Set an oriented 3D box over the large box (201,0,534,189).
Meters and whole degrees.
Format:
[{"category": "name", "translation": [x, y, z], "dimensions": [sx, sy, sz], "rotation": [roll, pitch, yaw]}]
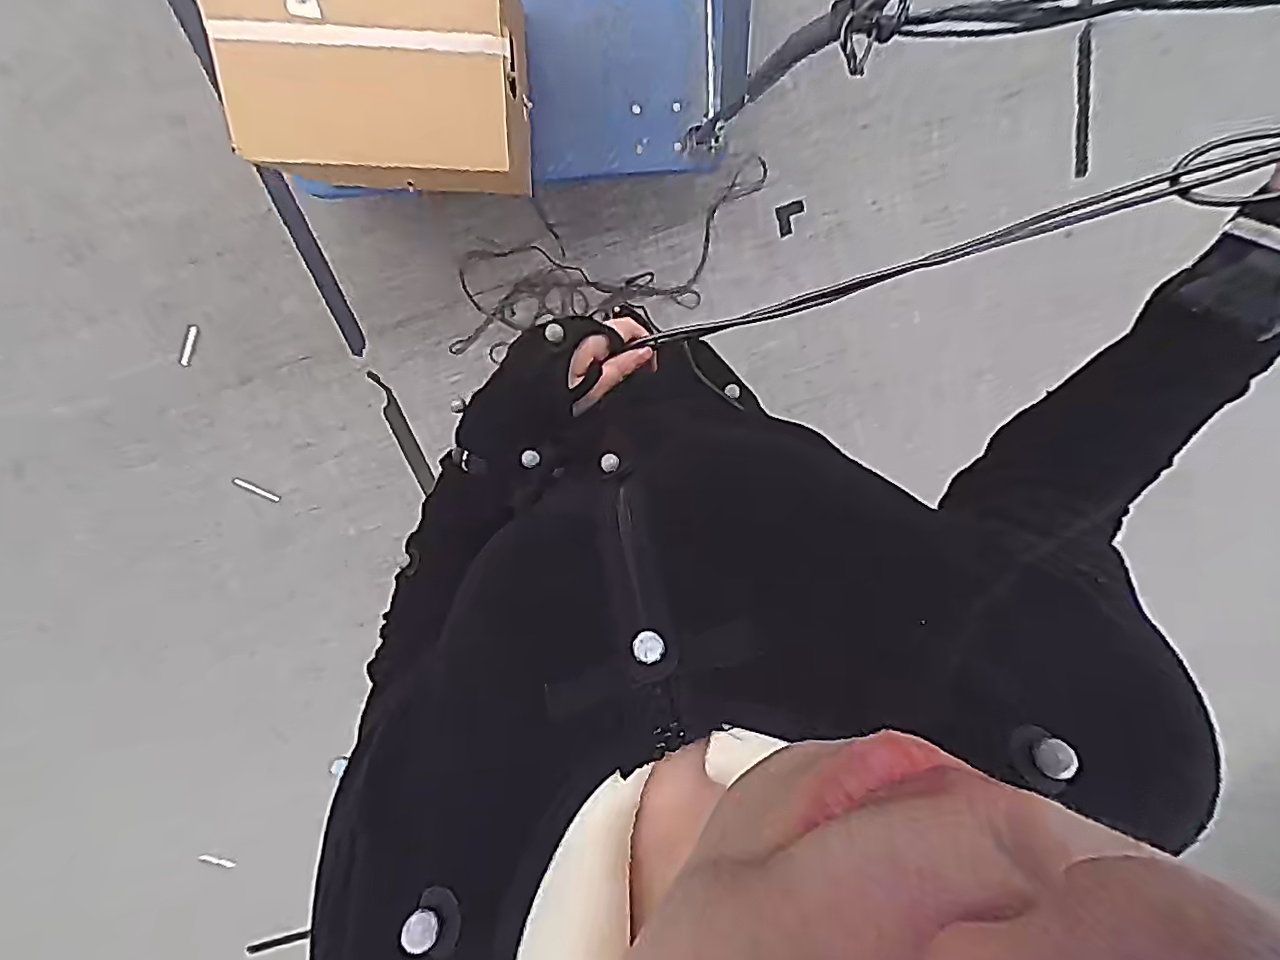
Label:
[{"category": "large box", "translation": [-0.402, -0.670, 0.893], "dimensions": [0.408, 0.320, 0.320], "rotation": [0, 111, -4]}]
